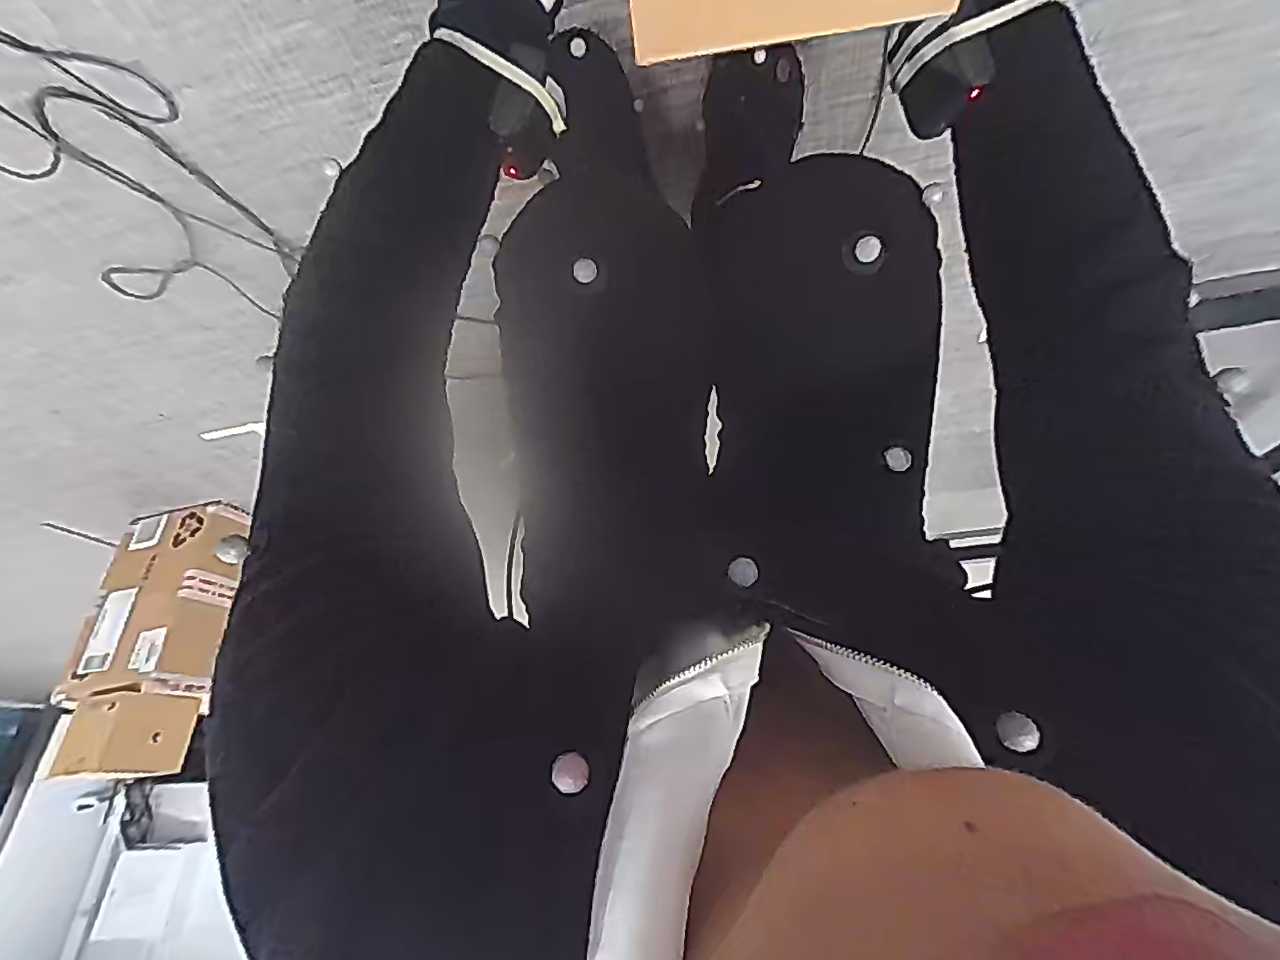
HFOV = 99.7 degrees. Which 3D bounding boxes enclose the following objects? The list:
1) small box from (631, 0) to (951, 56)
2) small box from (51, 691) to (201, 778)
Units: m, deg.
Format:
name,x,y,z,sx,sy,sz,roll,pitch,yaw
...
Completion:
name,x,y,z,sx,sy,sz,roll,pitch,yaw
small box,0.066,-0.346,0.247,0.168,0.176,0.179,-5,153,5
small box,-1.210,0.604,1.287,0.168,0.176,0.179,-13,149,15
